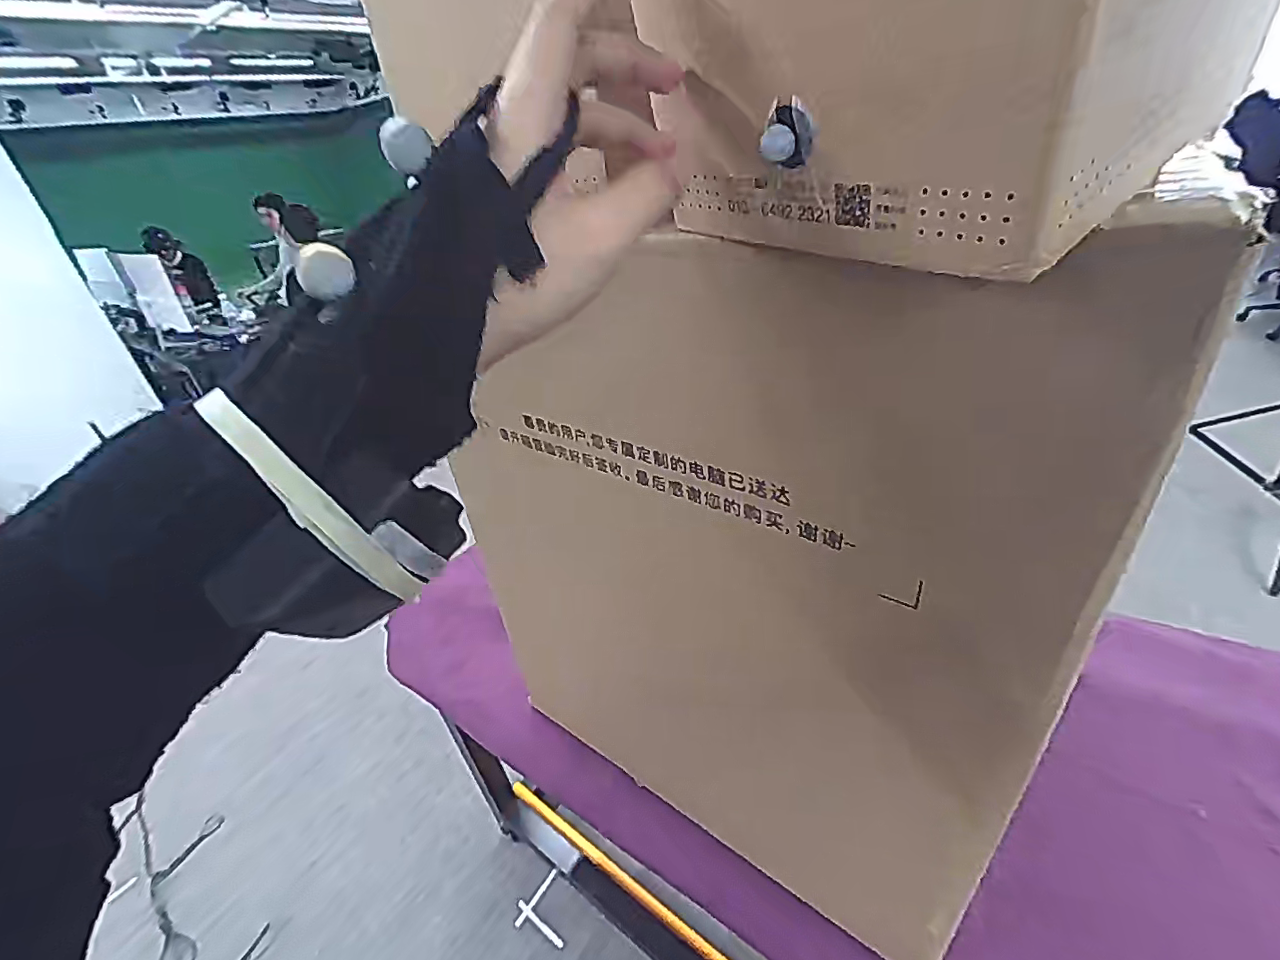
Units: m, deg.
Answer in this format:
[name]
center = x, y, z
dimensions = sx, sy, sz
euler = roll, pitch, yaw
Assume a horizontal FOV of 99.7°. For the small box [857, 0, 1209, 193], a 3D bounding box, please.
[small box]
center = 0.261, -0.306, 0.367
dimensions = 0.179, 0.176, 0.168
euler = 12, 37, 32
